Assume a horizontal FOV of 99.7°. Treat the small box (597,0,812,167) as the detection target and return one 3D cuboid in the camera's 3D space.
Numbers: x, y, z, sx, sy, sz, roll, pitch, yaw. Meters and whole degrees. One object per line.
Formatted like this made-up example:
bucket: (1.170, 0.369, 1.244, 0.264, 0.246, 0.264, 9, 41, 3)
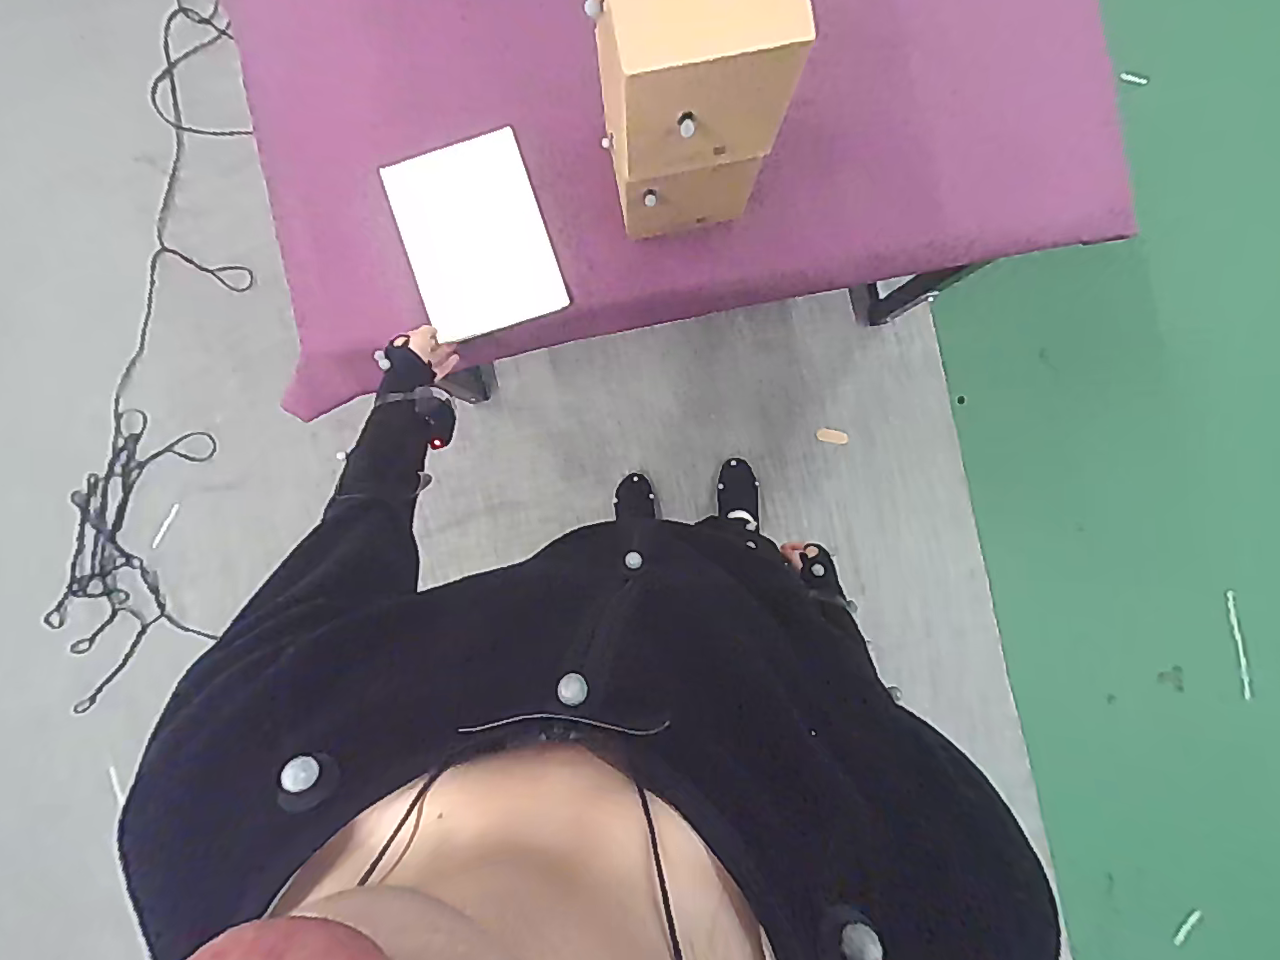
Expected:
small box: (0.050, -0.437, 0.528, 0.168, 0.176, 0.179, -11, 90, 0)
